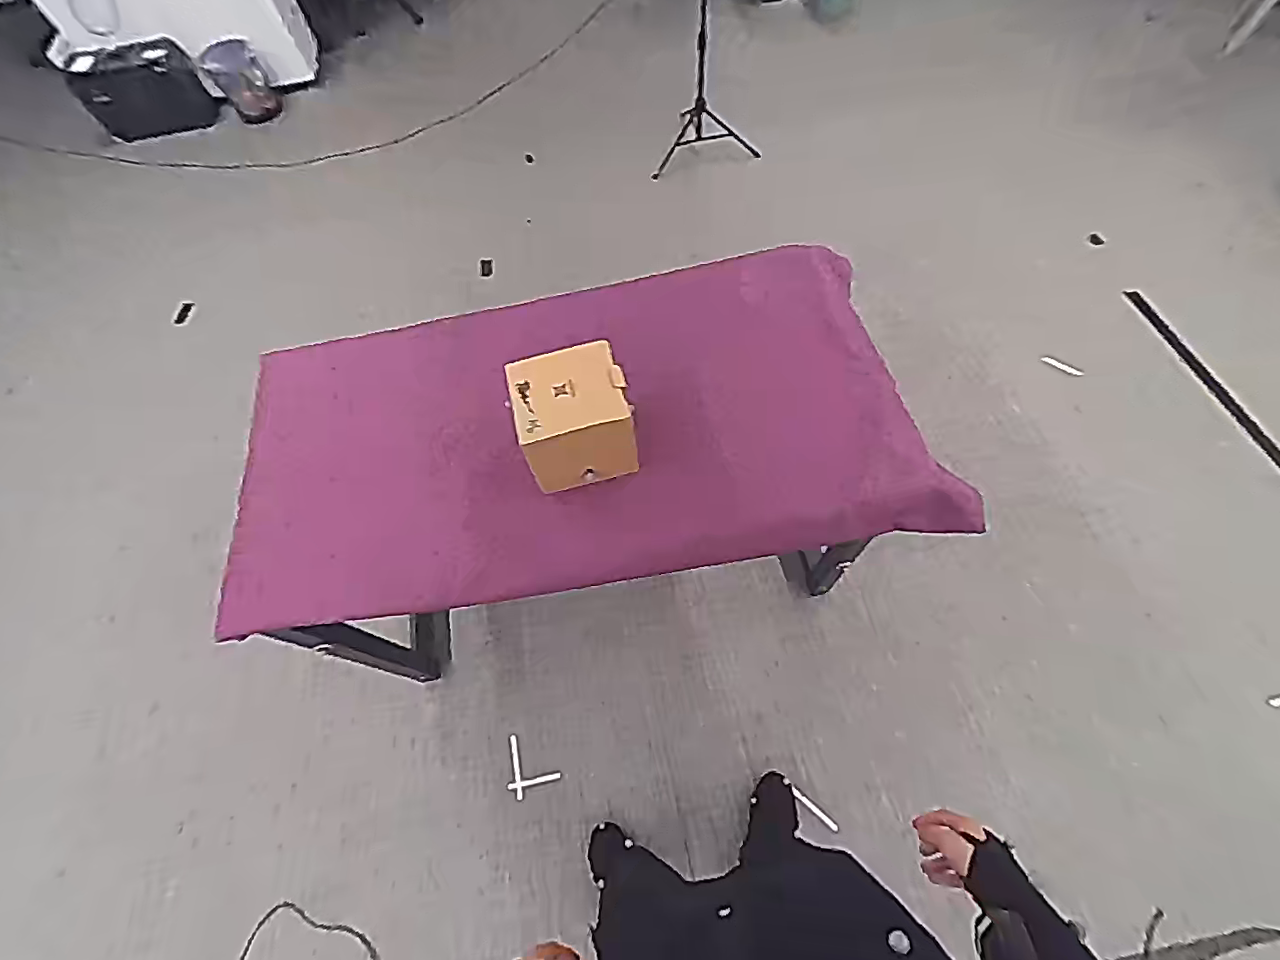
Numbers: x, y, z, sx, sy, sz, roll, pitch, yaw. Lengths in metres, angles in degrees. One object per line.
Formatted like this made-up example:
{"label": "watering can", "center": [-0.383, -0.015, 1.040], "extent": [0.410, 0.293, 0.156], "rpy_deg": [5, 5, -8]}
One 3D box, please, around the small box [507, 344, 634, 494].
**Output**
{"label": "small box", "center": [-0.111, -0.098, 0.918], "extent": [0.179, 0.176, 0.168], "rpy_deg": [-14, 61, -4]}
